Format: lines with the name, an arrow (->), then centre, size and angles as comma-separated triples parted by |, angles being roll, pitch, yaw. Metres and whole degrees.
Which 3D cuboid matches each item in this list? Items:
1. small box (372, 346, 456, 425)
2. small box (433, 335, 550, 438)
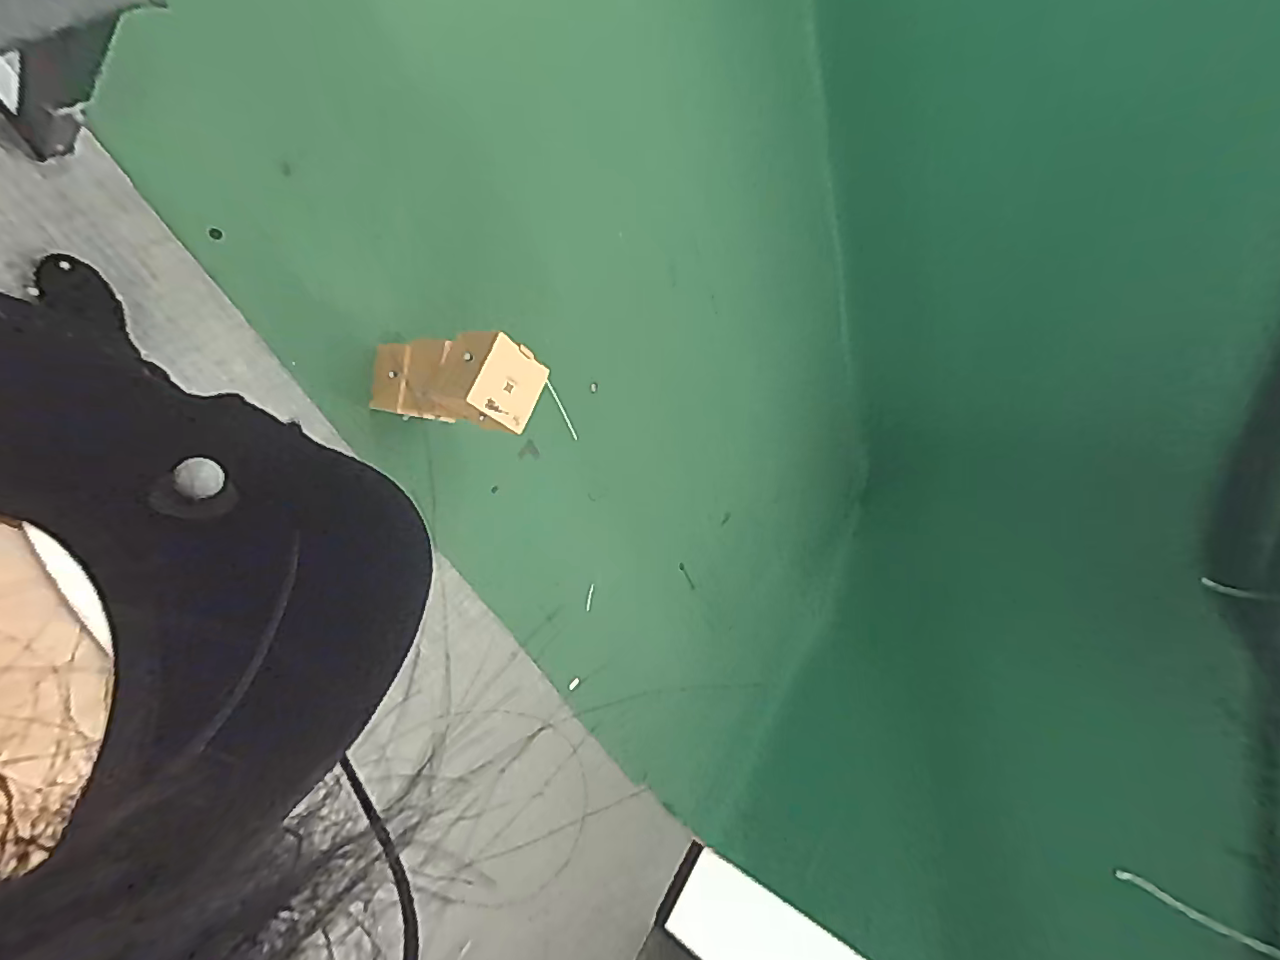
small box -> -0.602, -0.255, 1.464 | 0.168, 0.176, 0.179 | 6, 94, -50
small box -> -0.348, -0.219, 1.258 | 0.168, 0.176, 0.179 | 36, 72, -48
